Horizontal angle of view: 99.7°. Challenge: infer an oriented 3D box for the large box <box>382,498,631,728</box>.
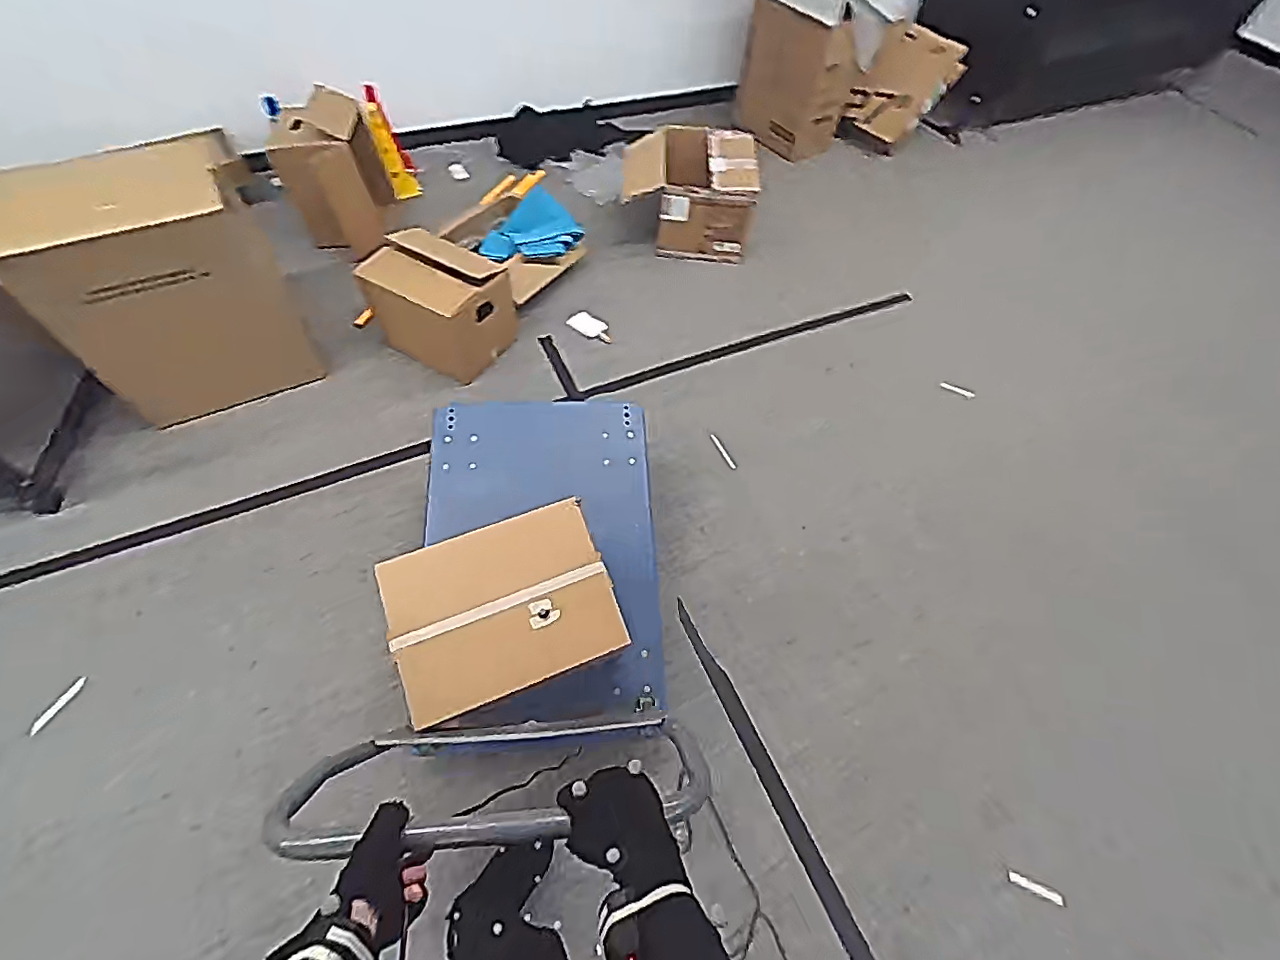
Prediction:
[{"bbox_3d":[-0.268,0.290,1.160,0.408,0.320,0.320,-20,72,-13],"label":"large box"}]
